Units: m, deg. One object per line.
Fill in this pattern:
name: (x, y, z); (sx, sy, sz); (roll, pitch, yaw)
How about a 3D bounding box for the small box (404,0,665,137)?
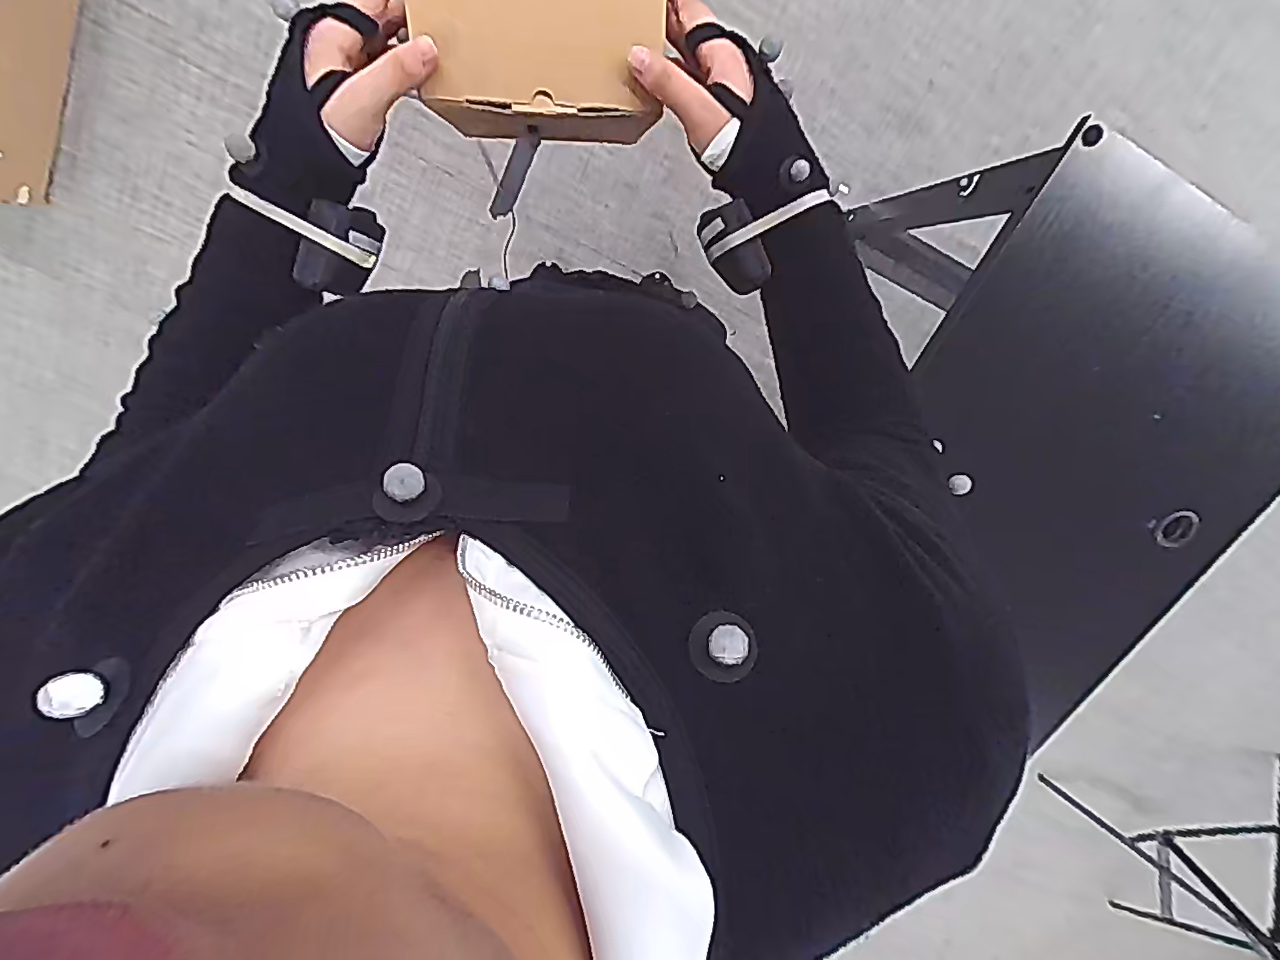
small box: (-0.074, -0.369, 0.398); (0.168, 0.176, 0.179); (-2, 117, -7)
